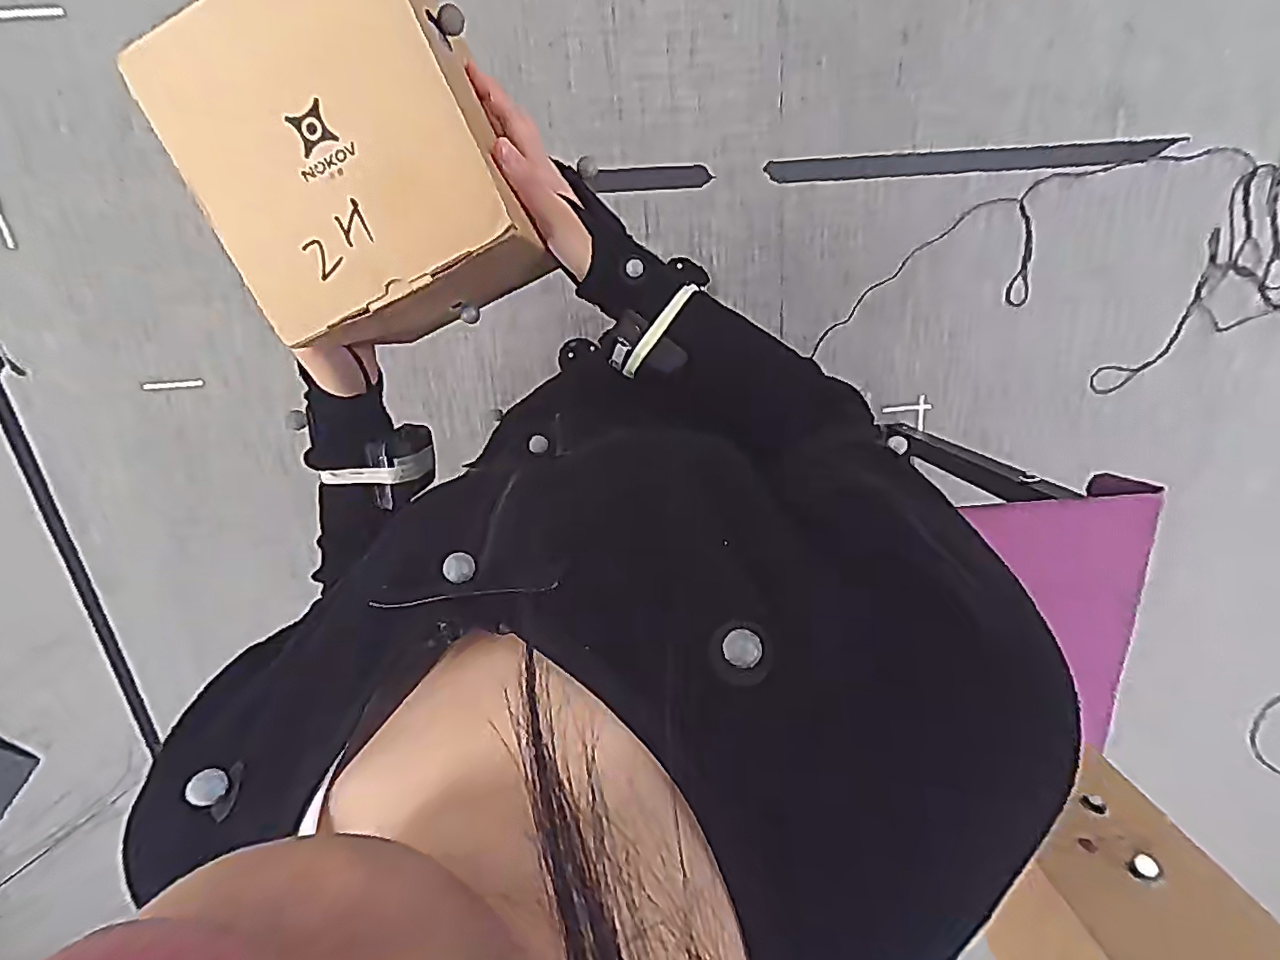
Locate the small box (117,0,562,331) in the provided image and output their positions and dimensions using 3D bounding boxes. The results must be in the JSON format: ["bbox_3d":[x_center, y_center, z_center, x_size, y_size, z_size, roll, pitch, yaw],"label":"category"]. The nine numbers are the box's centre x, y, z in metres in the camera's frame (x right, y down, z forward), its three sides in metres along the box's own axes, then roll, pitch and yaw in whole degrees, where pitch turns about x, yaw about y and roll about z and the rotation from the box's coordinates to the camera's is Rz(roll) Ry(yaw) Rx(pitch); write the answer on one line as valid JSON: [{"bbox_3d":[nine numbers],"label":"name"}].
[{"bbox_3d":[-0.173,-0.215,0.377,0.168,0.176,0.179,-23,104,9],"label":"small box"}]

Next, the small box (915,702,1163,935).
[{"bbox_3d":[0.461,0.403,0.660,0.168,0.176,0.179,-4,109,-2],"label":"small box"}]

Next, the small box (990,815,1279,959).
[{"bbox_3d":[0.465,0.452,0.503,0.168,0.176,0.179,-3,108,-2],"label":"small box"}]
